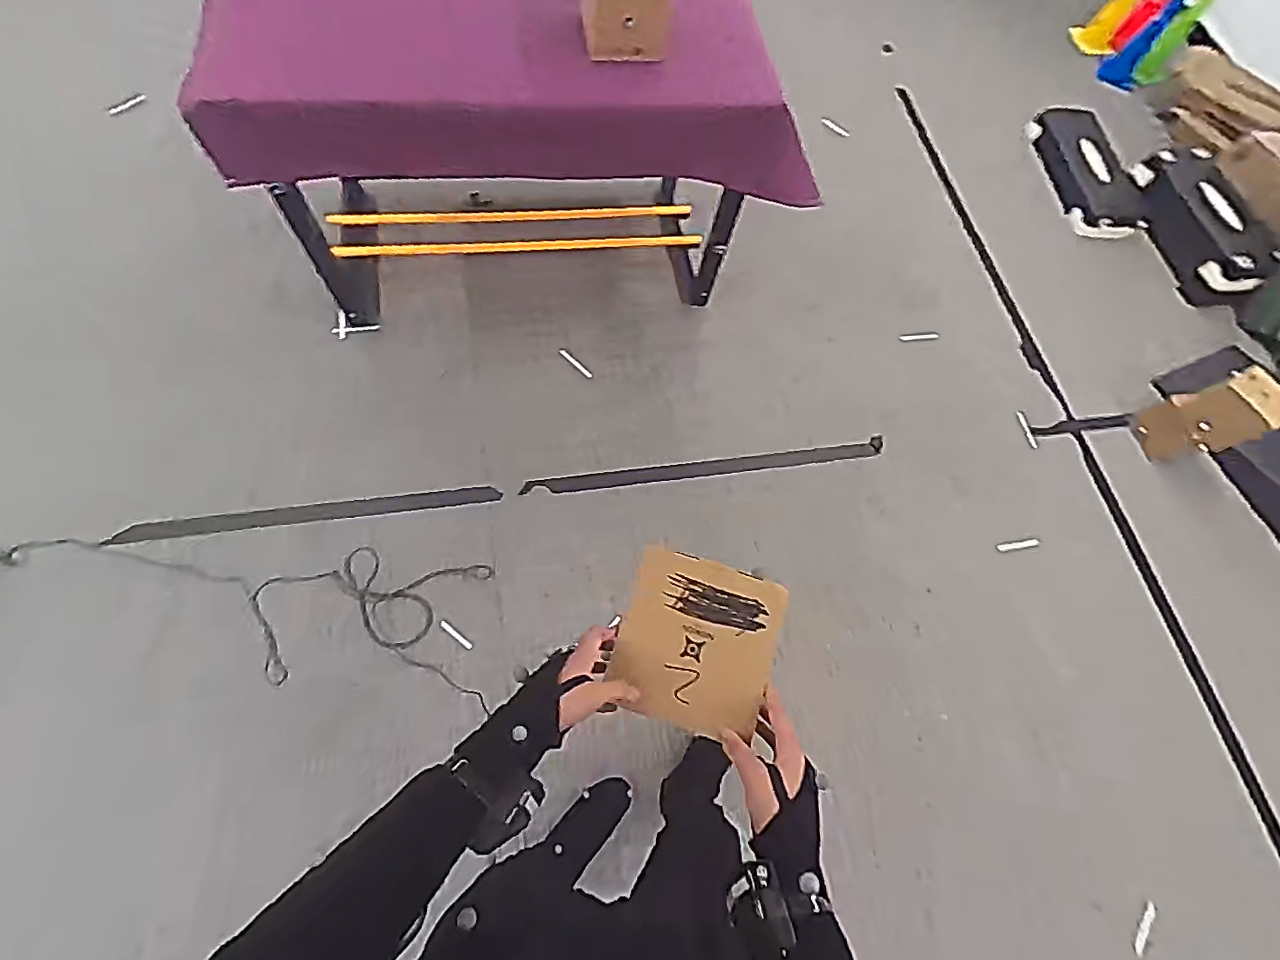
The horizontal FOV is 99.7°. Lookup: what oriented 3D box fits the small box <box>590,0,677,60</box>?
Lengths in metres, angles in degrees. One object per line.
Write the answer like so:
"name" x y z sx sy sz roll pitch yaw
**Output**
"small box" -0.016 -1.053 1.173 0.168 0.176 0.179 -7 71 -10
